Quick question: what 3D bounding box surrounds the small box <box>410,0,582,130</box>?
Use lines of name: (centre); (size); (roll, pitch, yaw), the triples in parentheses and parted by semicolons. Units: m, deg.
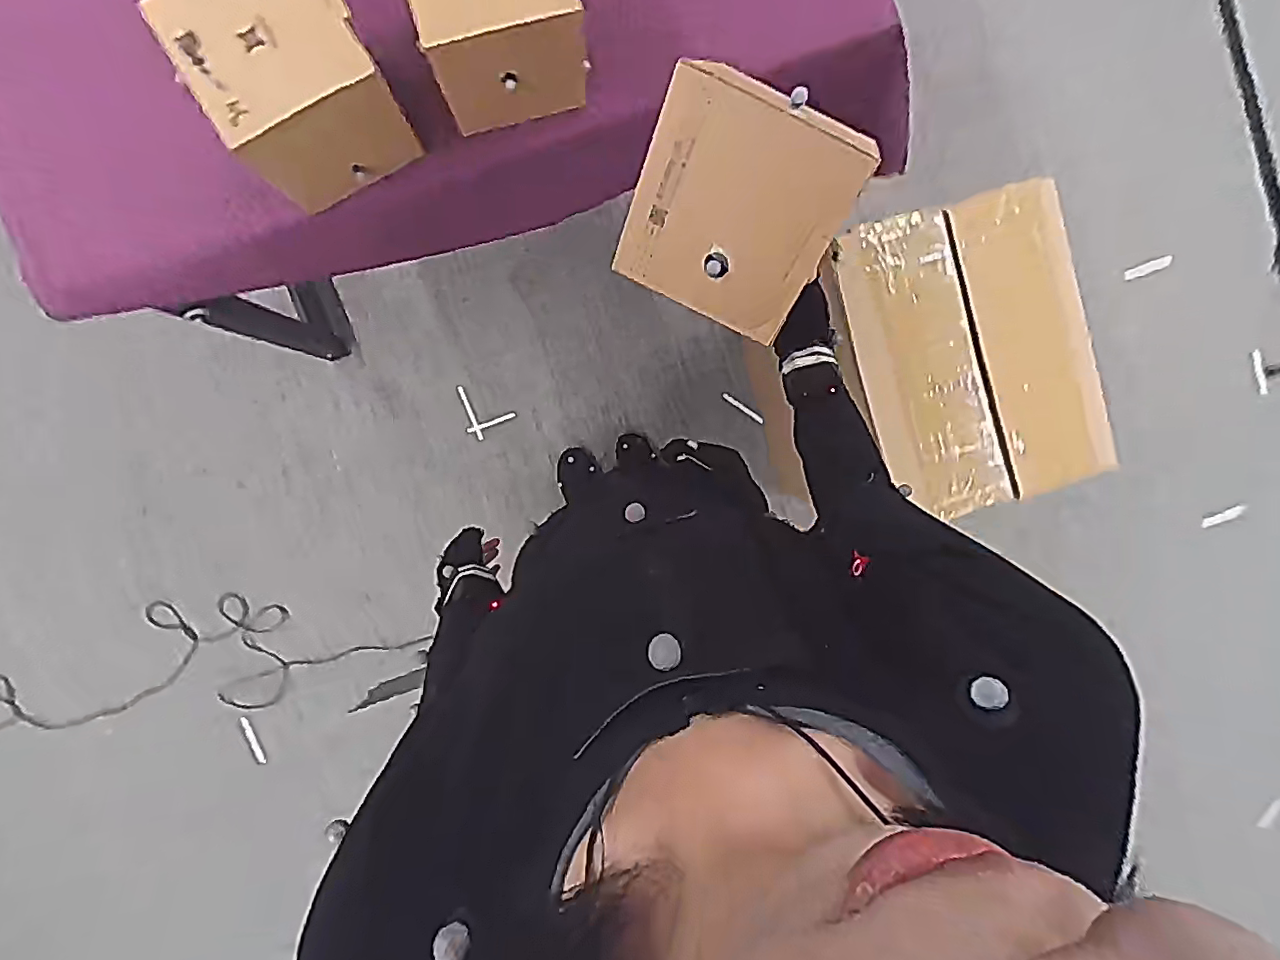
small box: (-0.173, -0.561, 0.645); (0.179, 0.176, 0.168); (-16, 94, -3)

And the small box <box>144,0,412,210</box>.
small box: (-0.395, -0.460, 0.635); (0.179, 0.176, 0.168); (-31, 95, -3)

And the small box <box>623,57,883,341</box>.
small box: (0.102, -0.265, 0.510); (0.176, 0.179, 0.168); (28, 130, 1)
